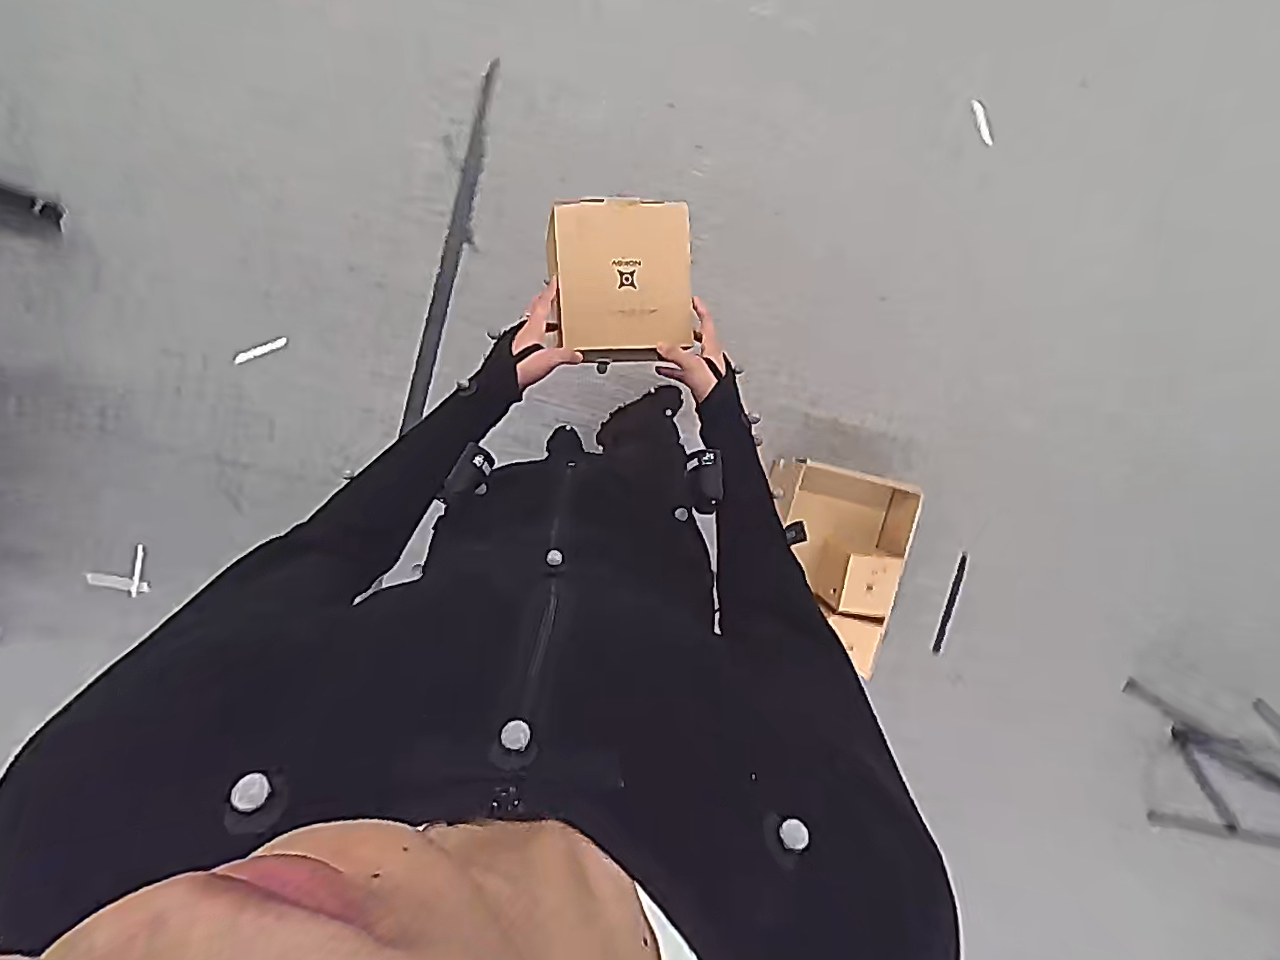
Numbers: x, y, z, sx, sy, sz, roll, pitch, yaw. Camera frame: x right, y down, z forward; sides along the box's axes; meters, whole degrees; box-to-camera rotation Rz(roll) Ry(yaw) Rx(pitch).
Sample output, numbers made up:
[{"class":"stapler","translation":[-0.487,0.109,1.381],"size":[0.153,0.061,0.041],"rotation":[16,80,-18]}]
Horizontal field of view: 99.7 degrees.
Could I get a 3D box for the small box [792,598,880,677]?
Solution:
[{"class":"small box","translation":[0.597,0.479,1.665],"size":[0.179,0.176,0.168],"rotation":[15,95,-7]}]
